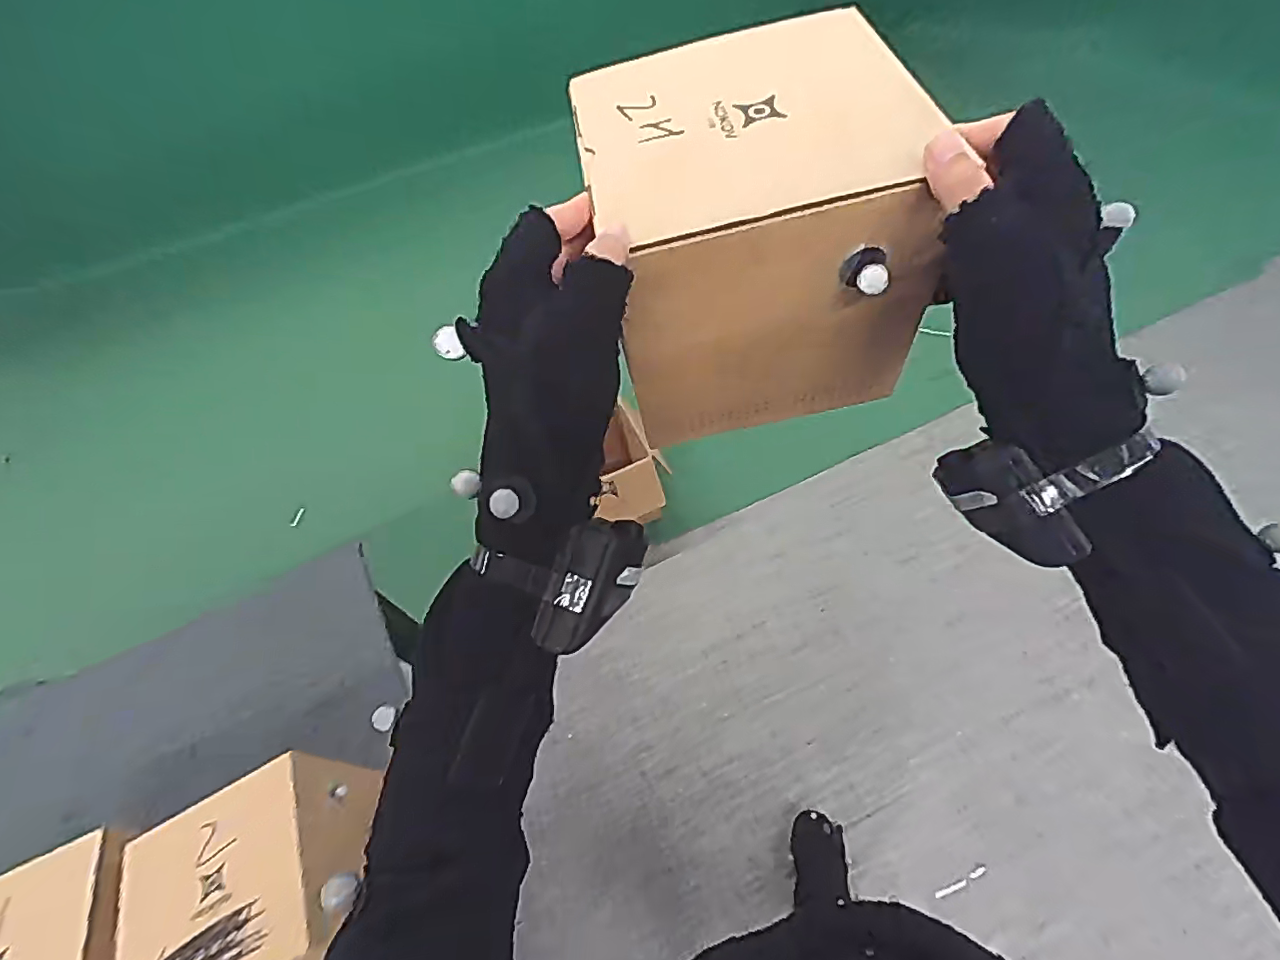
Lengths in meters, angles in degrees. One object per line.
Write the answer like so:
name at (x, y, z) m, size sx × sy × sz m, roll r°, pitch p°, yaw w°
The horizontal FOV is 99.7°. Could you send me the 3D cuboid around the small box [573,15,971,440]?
small box at (0.066, -0.148, 0.353) m, size 0.179 × 0.176 × 0.168 m, roll -12°, pitch 60°, yaw 4°
